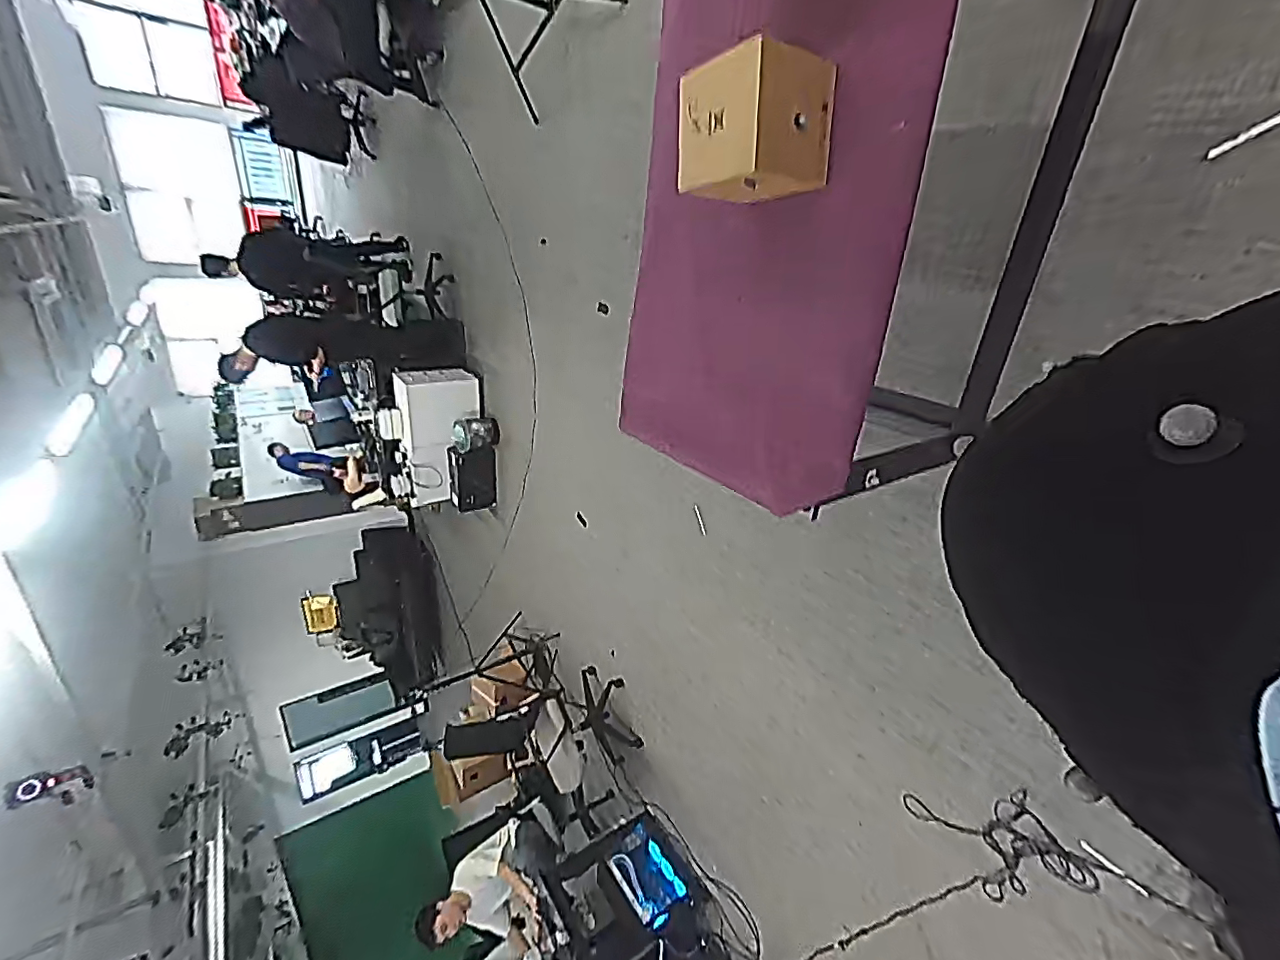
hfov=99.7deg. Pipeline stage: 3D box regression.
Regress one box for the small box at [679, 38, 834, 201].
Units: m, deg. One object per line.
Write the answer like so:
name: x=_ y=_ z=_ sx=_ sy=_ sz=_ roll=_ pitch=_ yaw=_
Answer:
small box: x=0.181 y=-0.550 z=0.852 sx=0.179 sy=0.176 sz=0.168 roll=23 pitch=119 yaw=52
